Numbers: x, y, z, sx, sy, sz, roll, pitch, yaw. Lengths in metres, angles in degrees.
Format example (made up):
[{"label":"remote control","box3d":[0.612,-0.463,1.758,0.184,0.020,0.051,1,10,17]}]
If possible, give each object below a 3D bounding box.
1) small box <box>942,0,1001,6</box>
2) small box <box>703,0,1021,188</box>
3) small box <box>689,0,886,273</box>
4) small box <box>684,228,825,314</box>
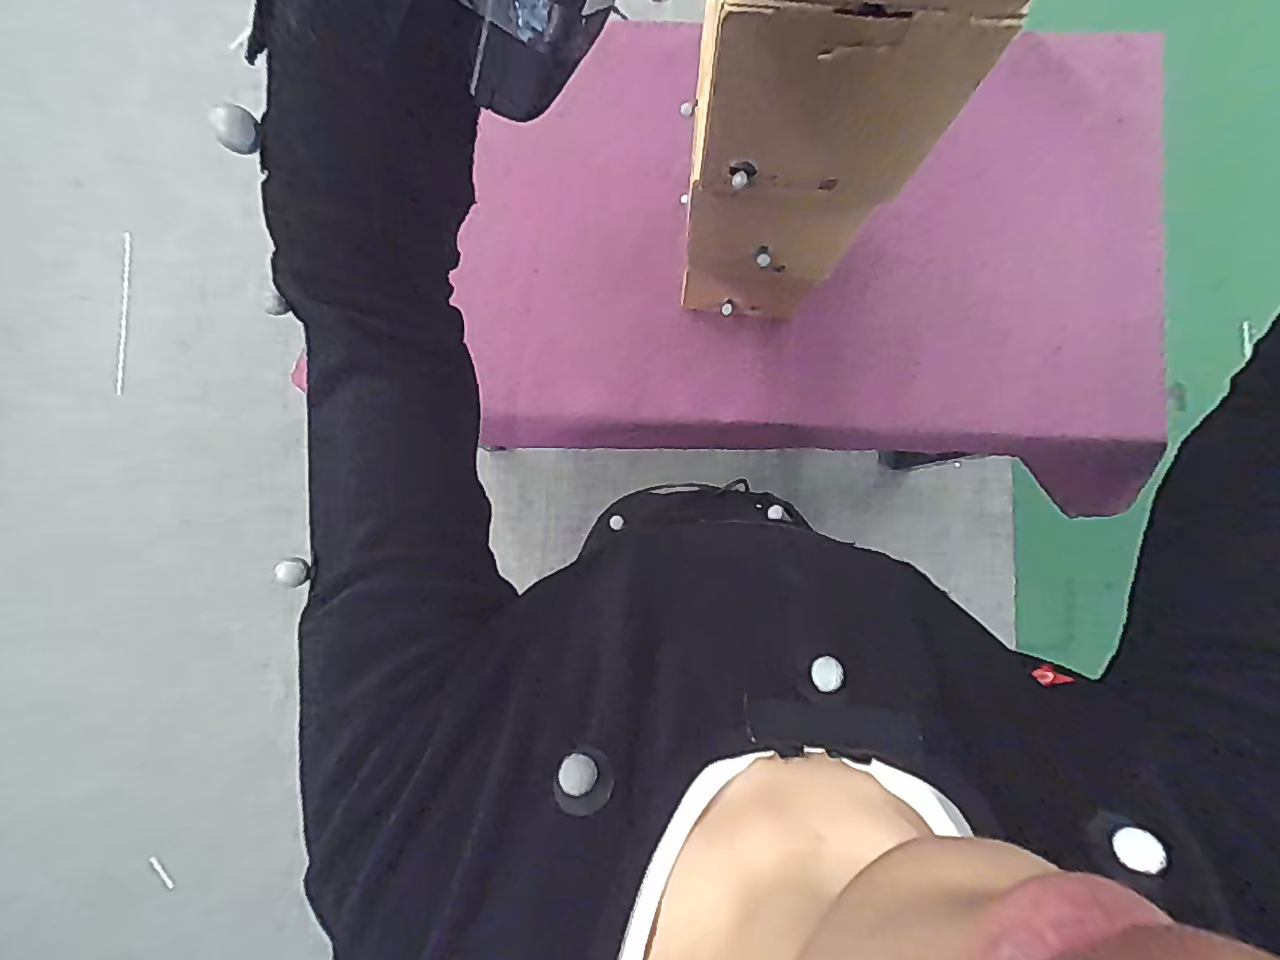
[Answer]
[{"label":"small box","box3d":[0.132,-0.354,0.217,0.168,0.176,0.179,7,85,3]},{"label":"small box","box3d":[0.137,-0.337,0.379,0.168,0.176,0.179,5,85,2]},{"label":"small box","box3d":[0.139,-0.335,0.544,0.168,0.176,0.179,5,86,3]},{"label":"small box","box3d":[0.150,-0.339,0.708,0.168,0.176,0.179,6,87,3]}]
